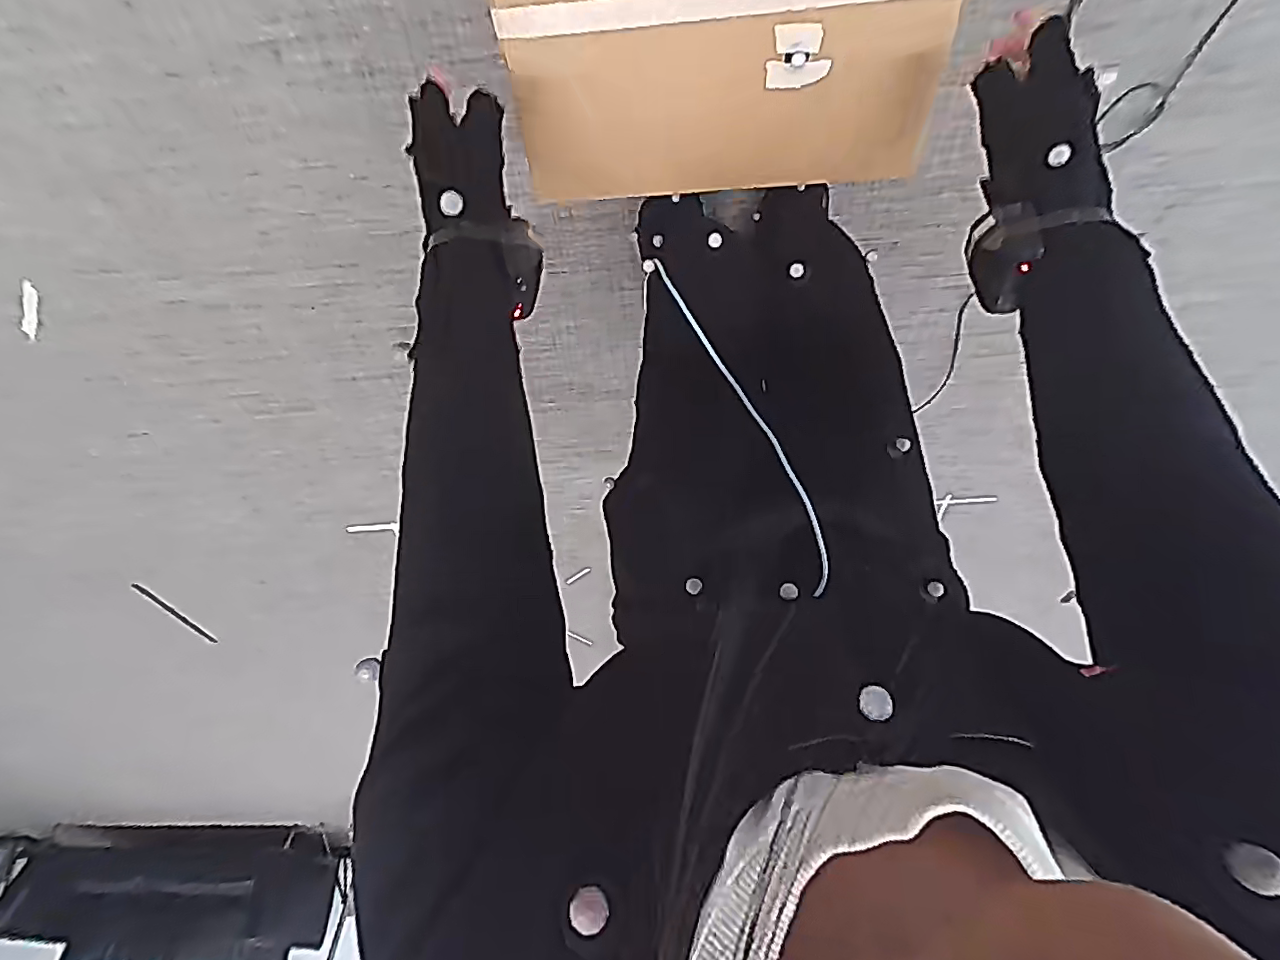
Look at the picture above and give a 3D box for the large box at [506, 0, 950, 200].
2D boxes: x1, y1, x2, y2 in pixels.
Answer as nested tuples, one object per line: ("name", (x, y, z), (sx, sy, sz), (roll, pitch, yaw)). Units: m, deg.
("large box", (0.077, -0.536, 0.584), (0.408, 0.320, 0.320), (-3, 136, 4))
